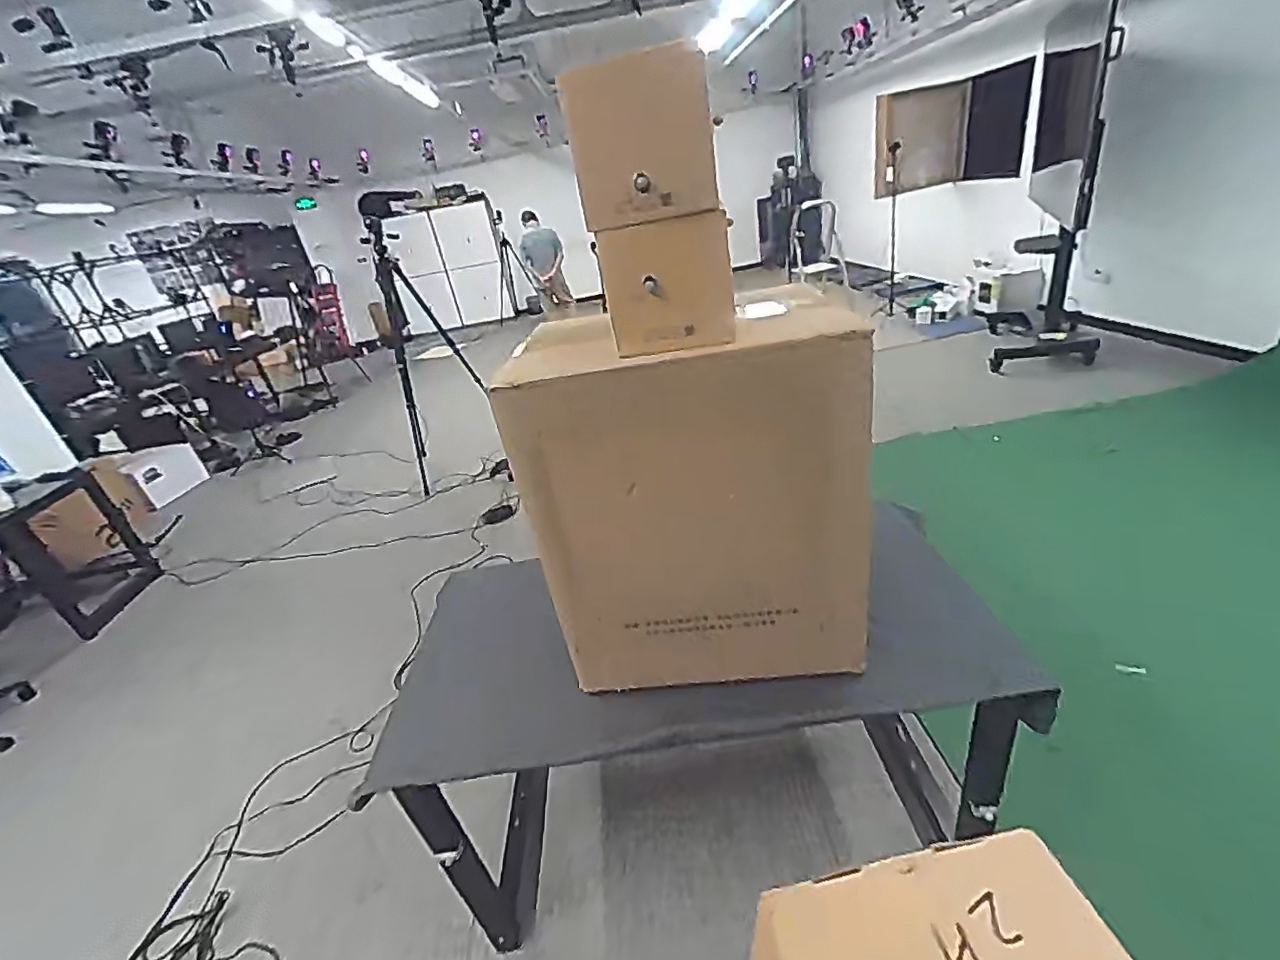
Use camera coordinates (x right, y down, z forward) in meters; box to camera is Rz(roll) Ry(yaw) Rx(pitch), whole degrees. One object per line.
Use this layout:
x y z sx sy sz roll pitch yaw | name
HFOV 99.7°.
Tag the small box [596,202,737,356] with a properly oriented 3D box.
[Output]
0.046 -0.282 0.772 0.168 0.176 0.179 -6 30 9 | small box
